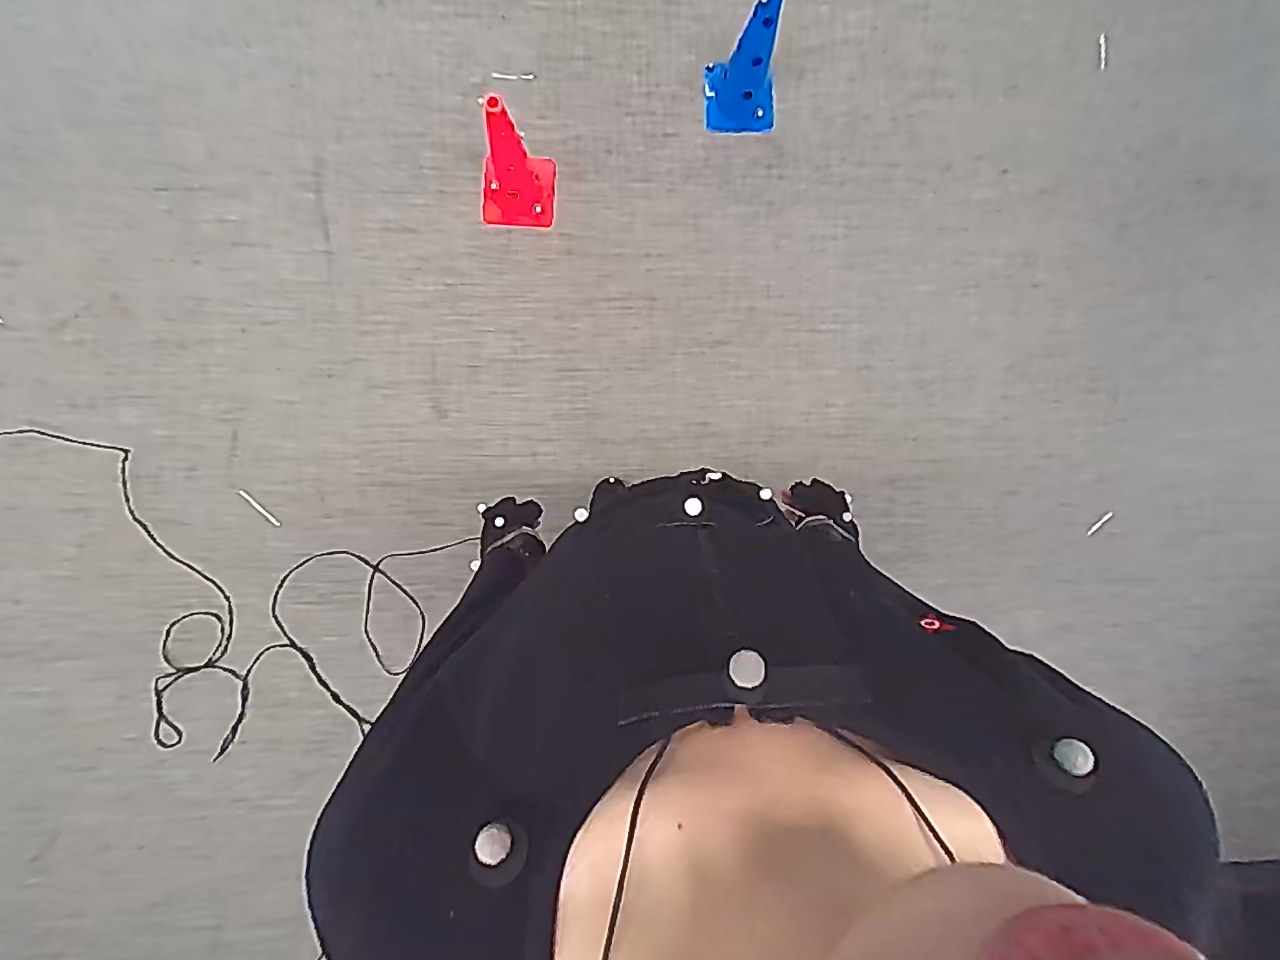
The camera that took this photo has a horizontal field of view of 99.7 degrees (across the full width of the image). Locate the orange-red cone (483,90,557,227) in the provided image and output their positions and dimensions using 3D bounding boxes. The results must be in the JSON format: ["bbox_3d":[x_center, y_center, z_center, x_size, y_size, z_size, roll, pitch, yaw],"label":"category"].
[{"bbox_3d":[-0.323,-0.818,1.339,0.198,0.360,0.199,4,87,-4],"label":"orange-red cone"}]
